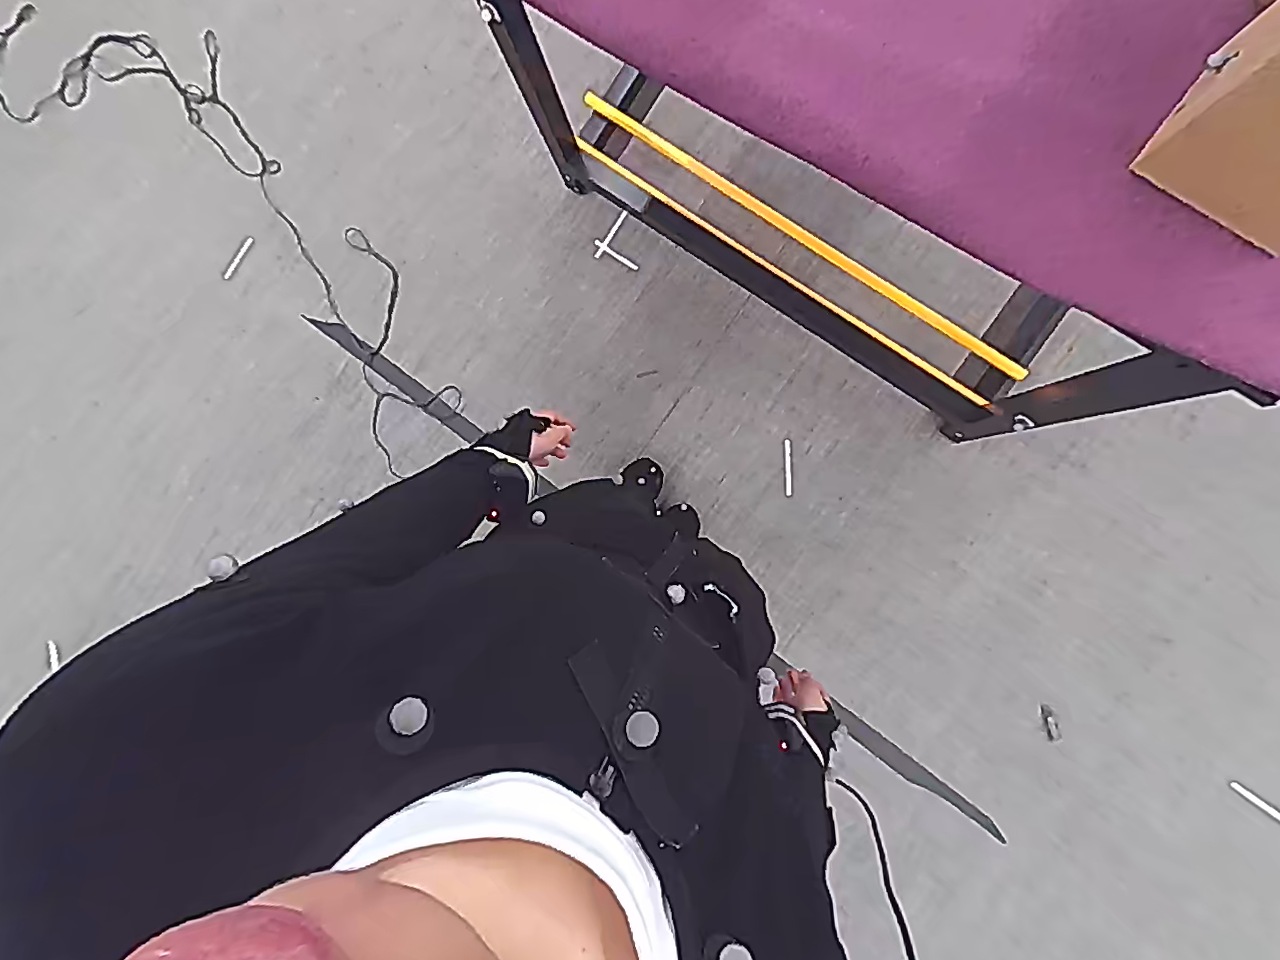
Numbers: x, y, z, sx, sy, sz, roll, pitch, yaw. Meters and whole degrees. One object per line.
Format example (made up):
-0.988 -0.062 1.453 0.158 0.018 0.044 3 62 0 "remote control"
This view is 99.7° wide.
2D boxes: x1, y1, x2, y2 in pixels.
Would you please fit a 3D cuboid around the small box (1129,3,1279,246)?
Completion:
0.631 -0.348 0.495 0.179 0.176 0.168 38 92 7 "small box"
